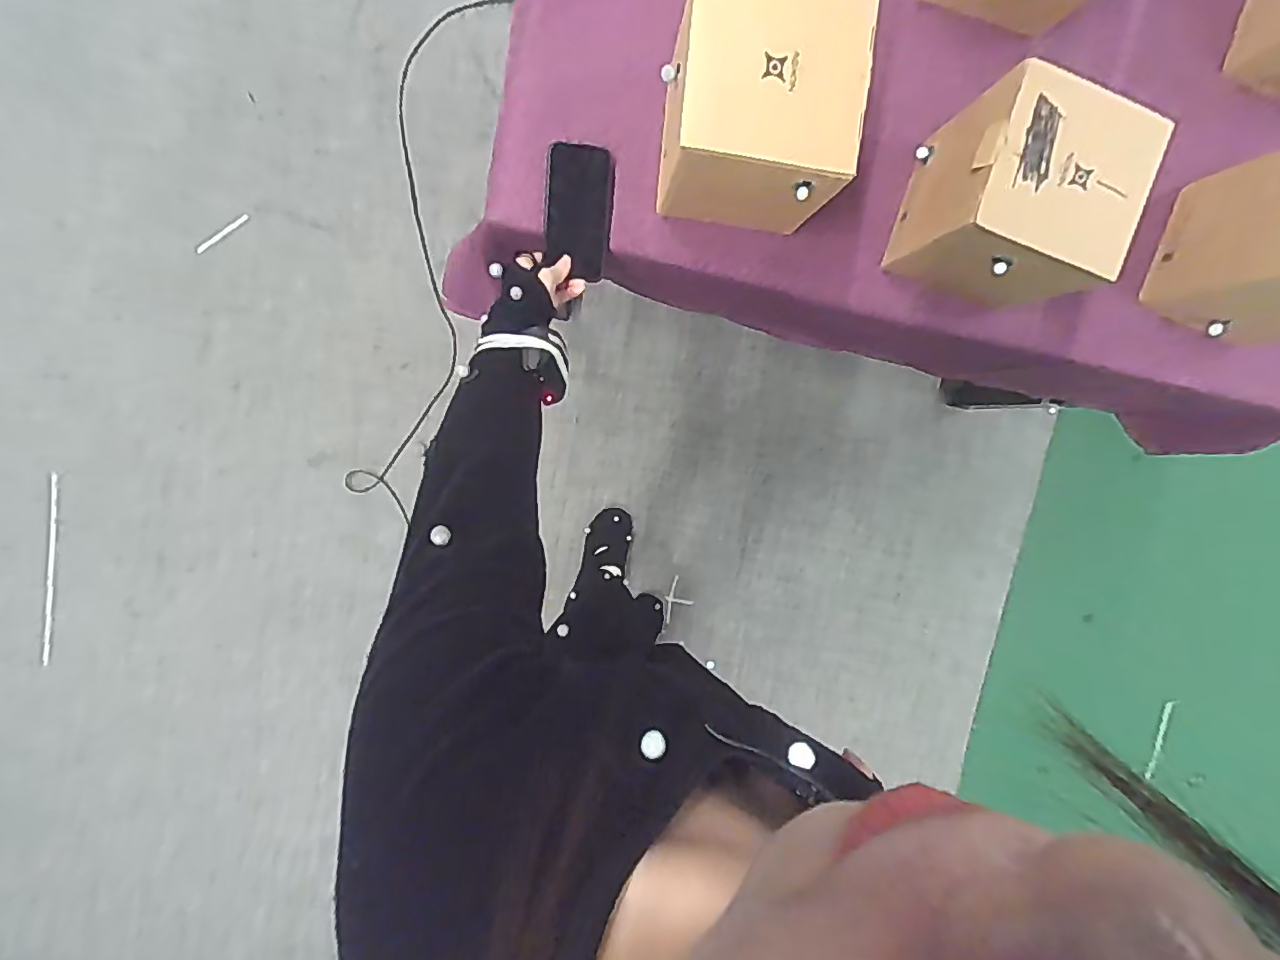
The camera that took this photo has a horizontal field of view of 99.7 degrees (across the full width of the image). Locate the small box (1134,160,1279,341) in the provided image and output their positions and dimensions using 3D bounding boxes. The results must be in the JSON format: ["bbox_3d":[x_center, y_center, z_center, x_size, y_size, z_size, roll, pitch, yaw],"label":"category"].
[{"bbox_3d":[0.789,-0.281,0.669,0.179,0.176,0.168,18,94,-9],"label":"small box"}]

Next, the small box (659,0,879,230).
[{"bbox_3d":[0.121,-0.387,0.581,0.179,0.176,0.168,5,96,-8],"label":"small box"}]

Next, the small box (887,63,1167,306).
[{"bbox_3d":[0.423,-0.316,0.623,0.179,0.176,0.168,17,95,-9],"label":"small box"}]
